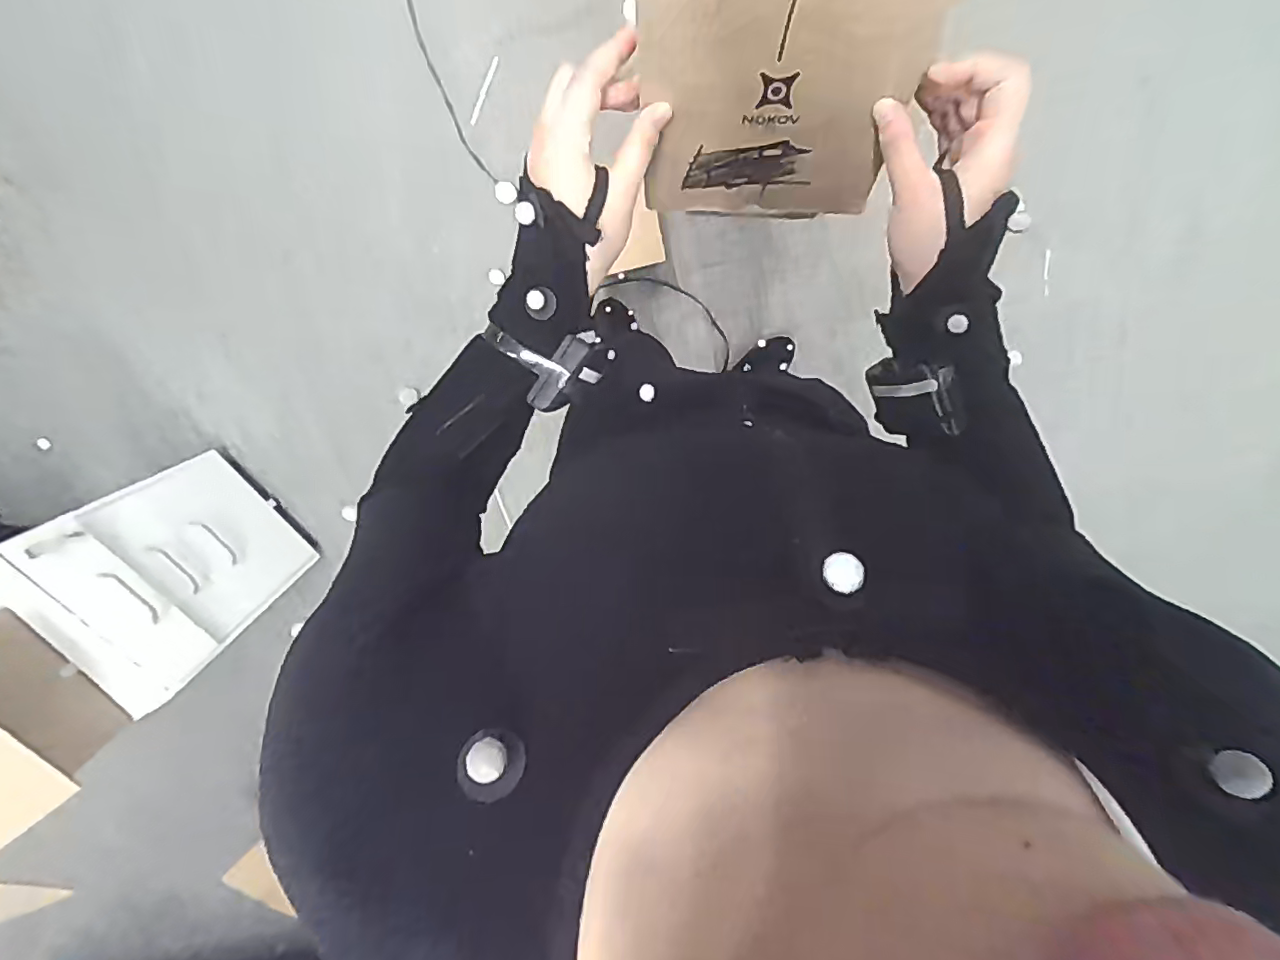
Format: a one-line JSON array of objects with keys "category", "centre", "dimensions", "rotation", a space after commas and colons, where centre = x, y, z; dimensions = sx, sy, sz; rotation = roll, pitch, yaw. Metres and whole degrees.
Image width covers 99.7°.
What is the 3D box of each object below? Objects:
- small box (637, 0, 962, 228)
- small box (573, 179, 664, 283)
[{"category": "small box", "centre": [0.089, -0.300, 0.357], "dimensions": [0.168, 0.179, 0.176], "rotation": [3, 71, 4]}, {"category": "small box", "centre": [-0.042, -0.556, 1.220], "dimensions": [0.168, 0.176, 0.179], "rotation": [-12, 110, 4]}]
